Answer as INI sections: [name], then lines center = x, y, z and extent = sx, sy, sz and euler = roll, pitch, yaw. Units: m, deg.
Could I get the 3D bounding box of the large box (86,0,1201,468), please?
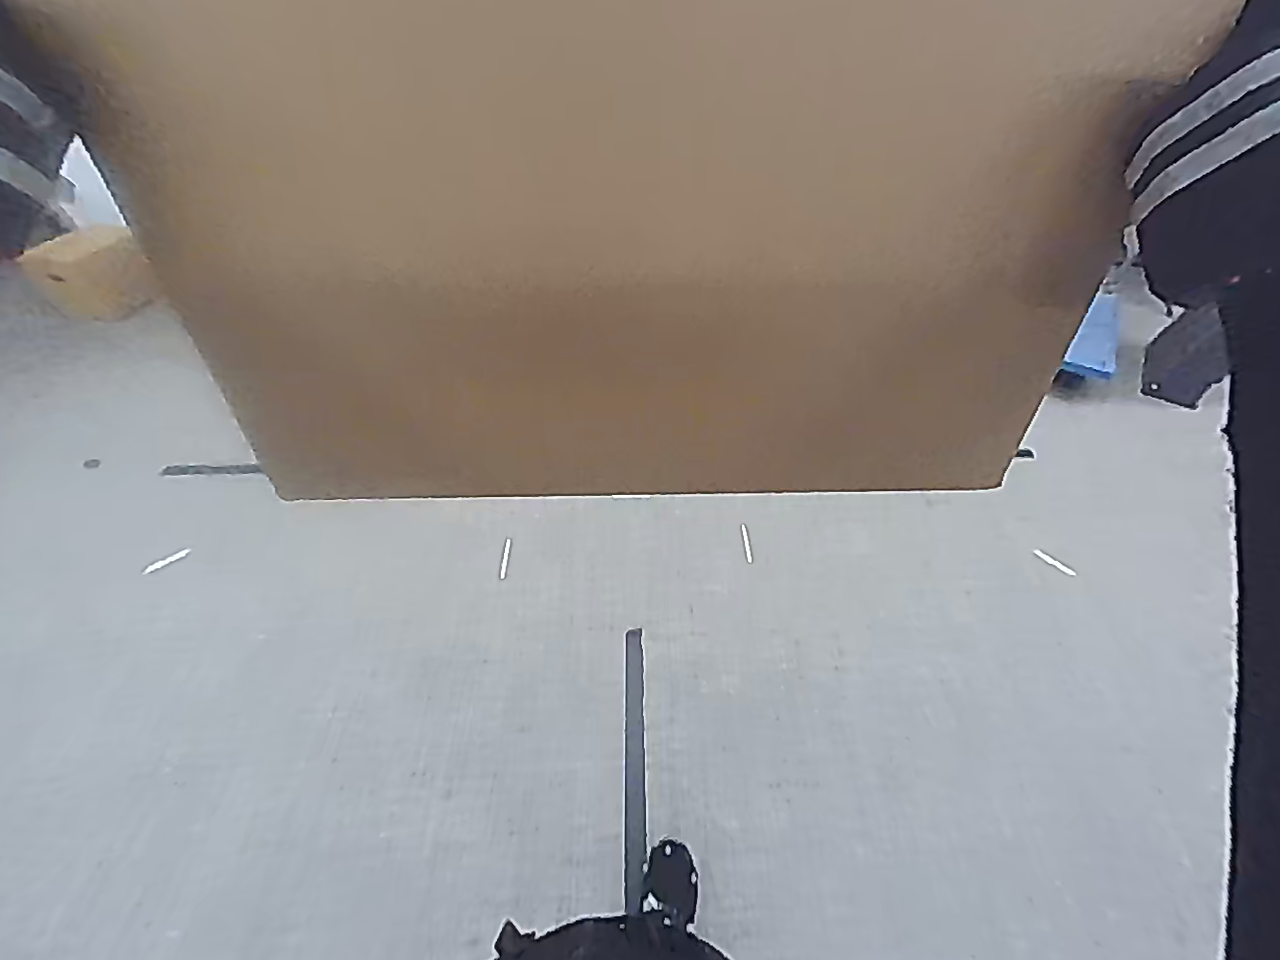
[large box]
center = 0.000, -0.216, 0.337
extent = 0.408, 0.320, 0.320
euler = 0, 38, -1
